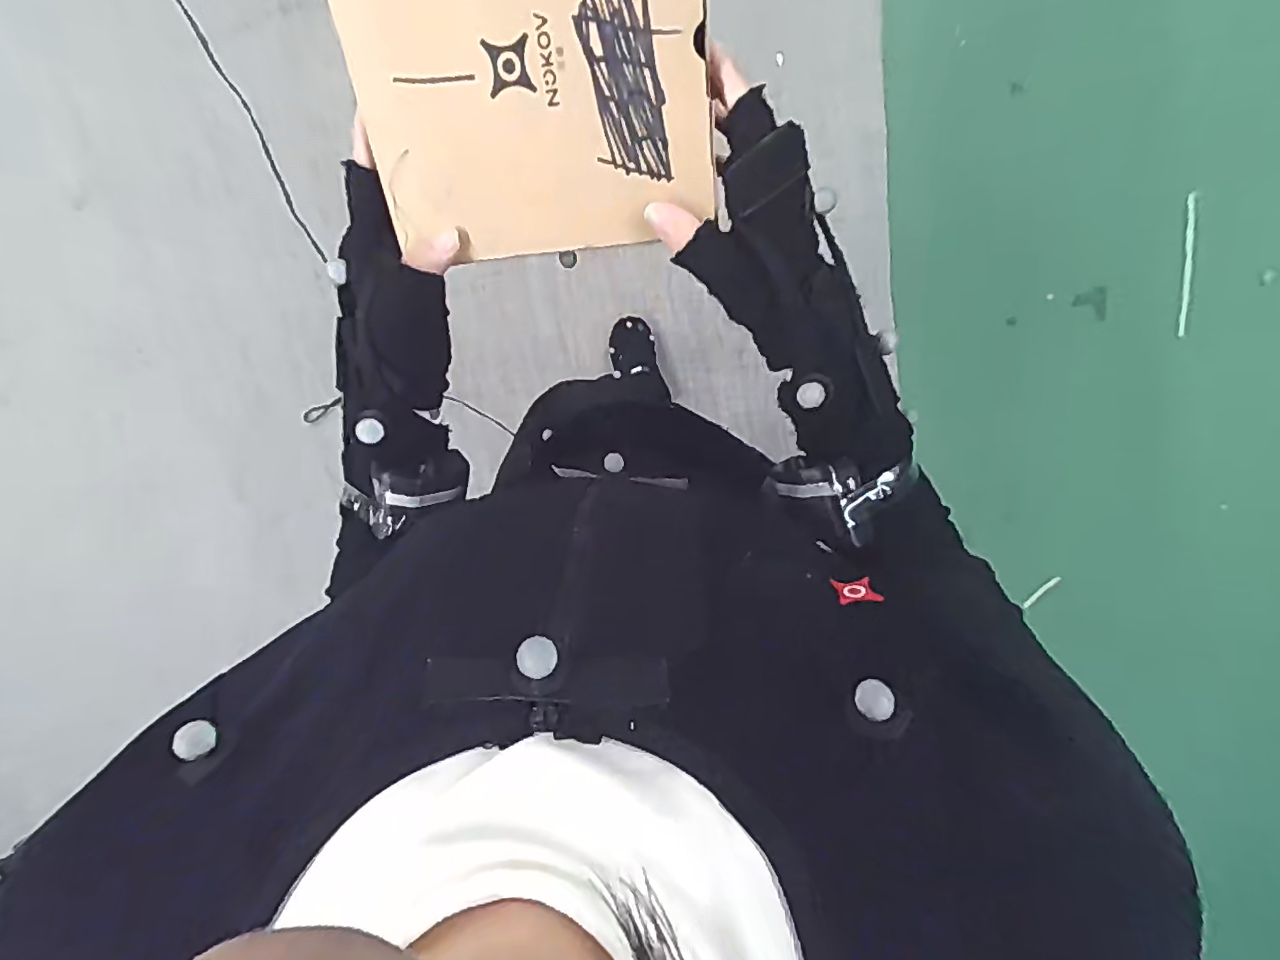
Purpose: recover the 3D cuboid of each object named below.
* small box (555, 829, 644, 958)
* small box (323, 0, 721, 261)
[{"bbox_3d":[-0.087,0.938,1.242,0.168,0.176,0.179,-9,100,5],"label":"small box"},{"bbox_3d":[-0.053,-0.242,0.325,0.179,0.176,0.168,-7,119,6],"label":"small box"}]
